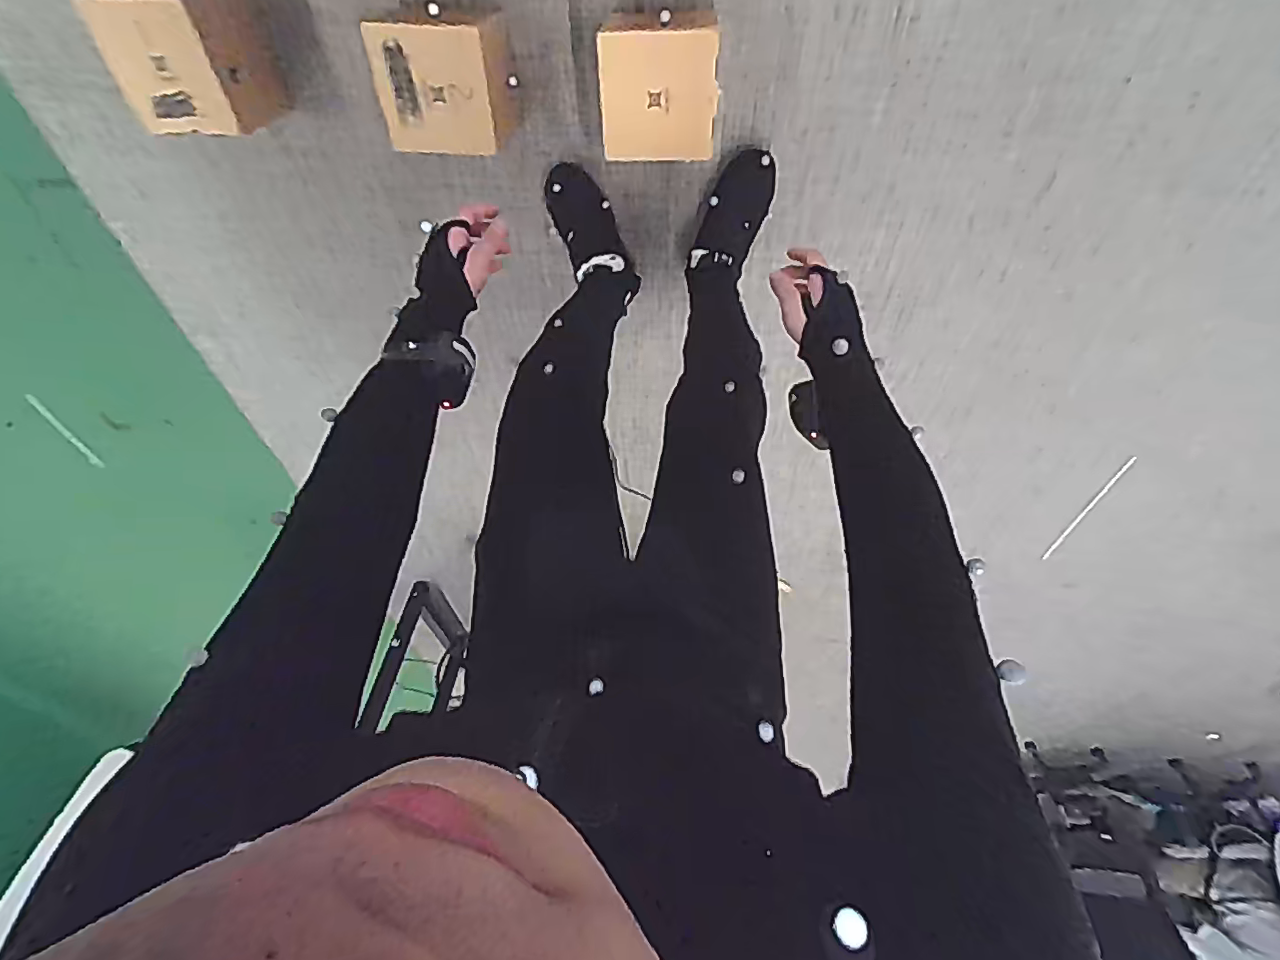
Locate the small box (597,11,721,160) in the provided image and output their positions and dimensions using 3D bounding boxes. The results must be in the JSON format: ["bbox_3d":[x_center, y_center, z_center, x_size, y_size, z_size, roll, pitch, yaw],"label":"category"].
[{"bbox_3d":[0.032,-0.626,0.859,0.179,0.176,0.168,1,137,3],"label":"small box"}]

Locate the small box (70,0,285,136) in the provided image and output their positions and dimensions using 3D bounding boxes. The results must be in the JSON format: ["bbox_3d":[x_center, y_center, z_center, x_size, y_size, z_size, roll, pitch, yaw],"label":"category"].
[{"bbox_3d":[-0.722,-0.683,0.873,0.168,0.176,0.179,3,137,2],"label":"small box"}]
